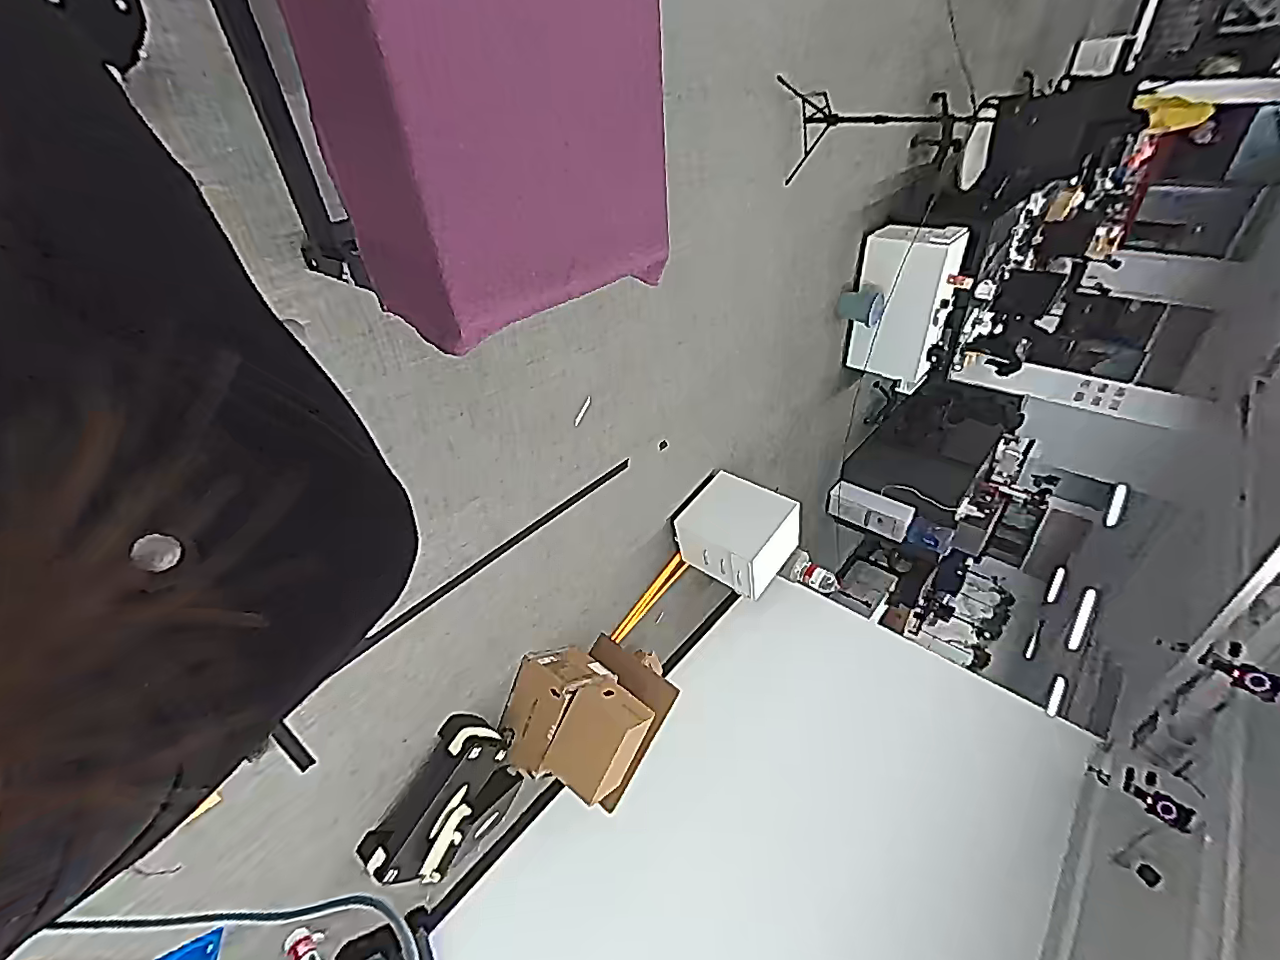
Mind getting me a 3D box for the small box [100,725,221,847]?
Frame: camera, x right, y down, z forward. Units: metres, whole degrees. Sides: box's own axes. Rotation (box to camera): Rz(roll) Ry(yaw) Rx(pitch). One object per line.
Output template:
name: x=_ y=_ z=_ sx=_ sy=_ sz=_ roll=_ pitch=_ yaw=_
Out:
small box: x=-1.205 y=0.761 z=1.361 sx=0.168 sy=0.176 sz=0.179 roll=-31 pitch=133 yaw=-37
